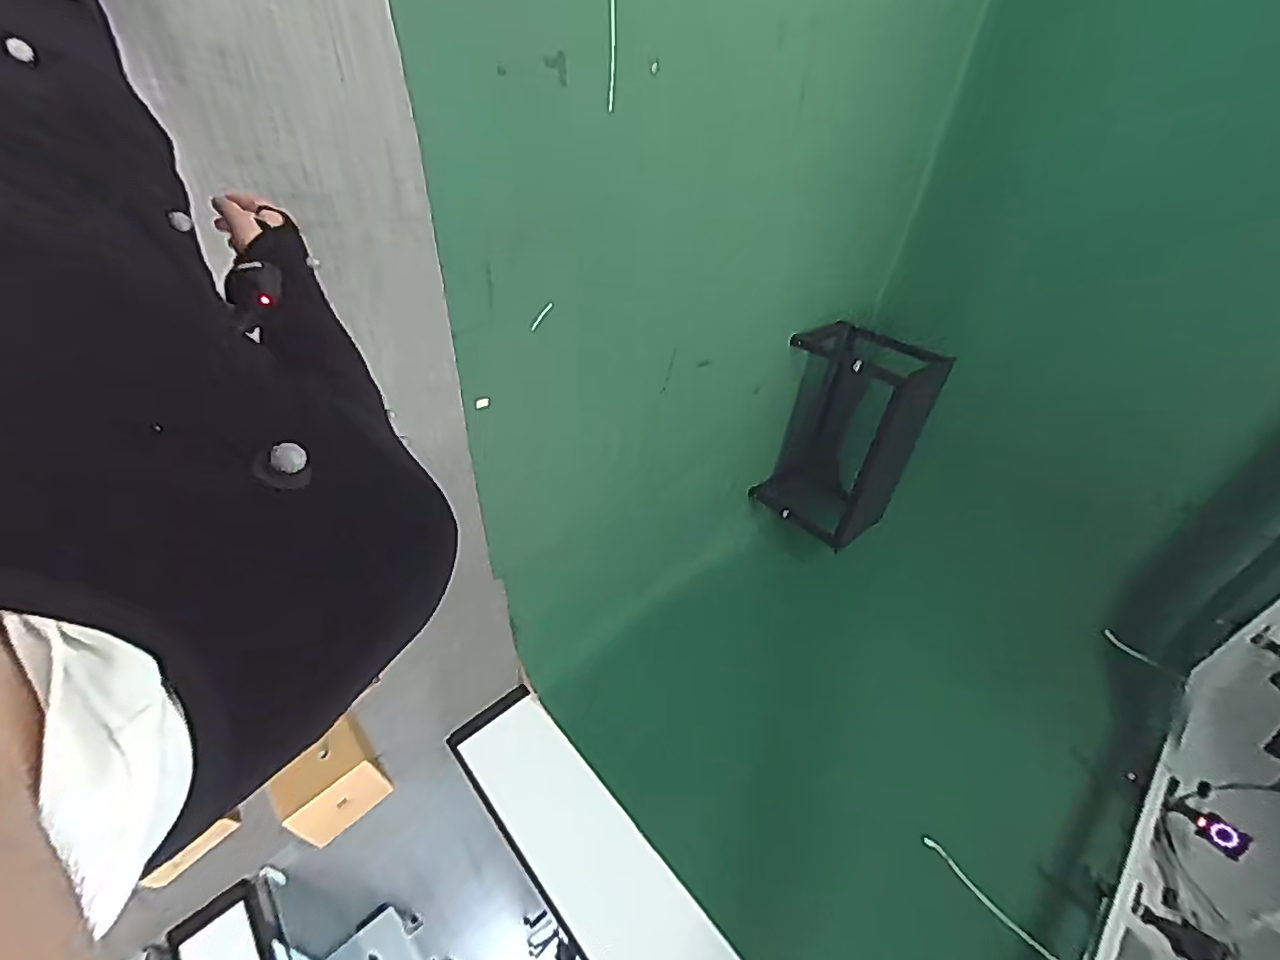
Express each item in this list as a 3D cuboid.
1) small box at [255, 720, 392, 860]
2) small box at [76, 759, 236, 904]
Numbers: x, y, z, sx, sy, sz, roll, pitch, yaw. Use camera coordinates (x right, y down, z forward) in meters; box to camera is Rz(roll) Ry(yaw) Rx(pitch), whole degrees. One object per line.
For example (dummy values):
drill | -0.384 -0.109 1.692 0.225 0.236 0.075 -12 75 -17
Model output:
small box | -0.661 0.638 1.131 0.168 0.176 0.179 -35 142 -29
small box | -0.974 0.701 1.090 0.168 0.176 0.179 -38 142 -23
